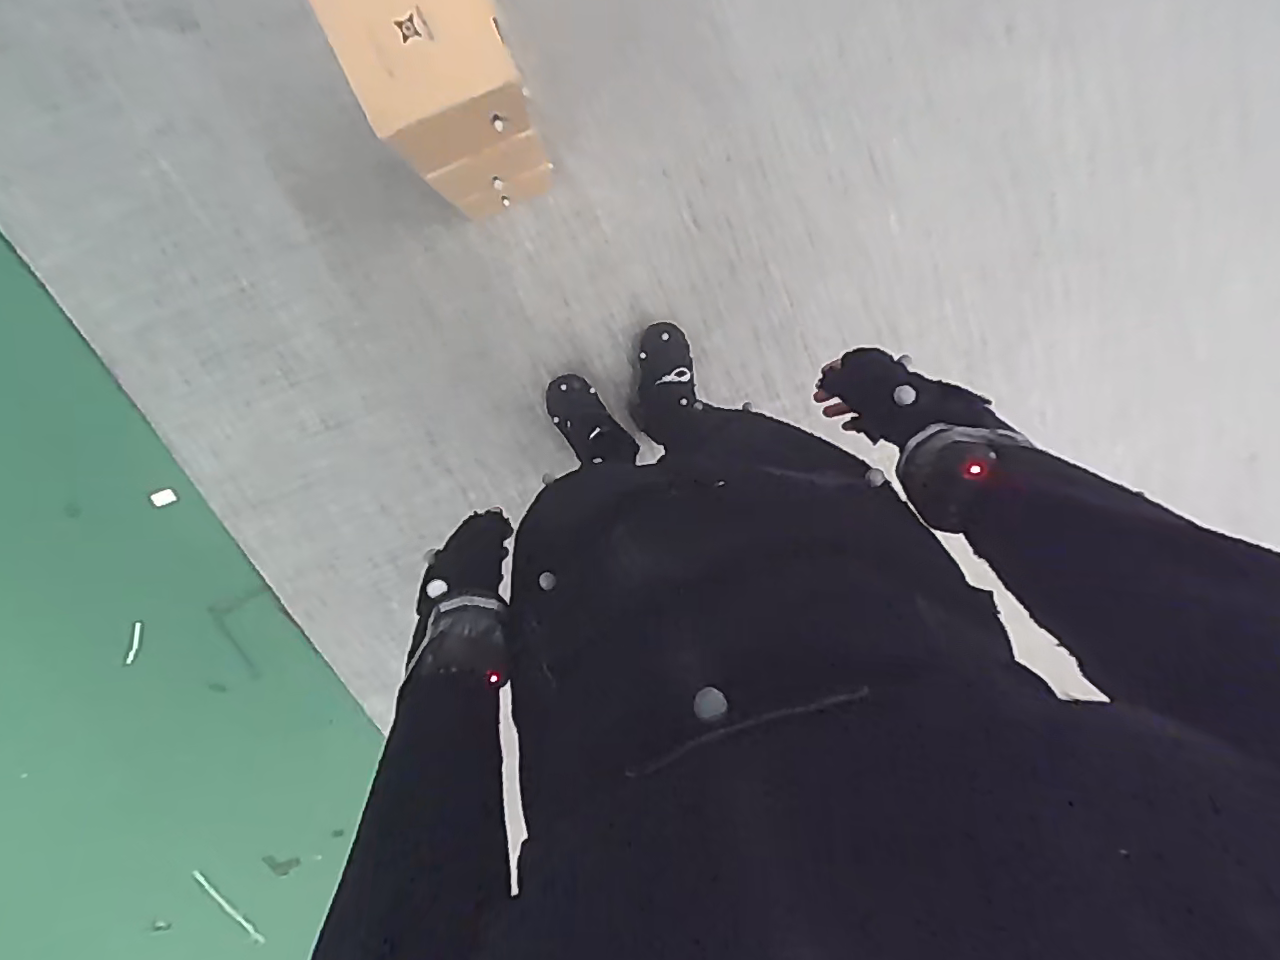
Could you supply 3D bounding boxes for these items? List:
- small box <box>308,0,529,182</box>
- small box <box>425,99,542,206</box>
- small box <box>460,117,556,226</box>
[{"bbox_3d":[-0.248,-0.498,0.662,0.179,0.176,0.168,-23,107,3],"label":"small box"},{"bbox_3d":[-0.258,-0.542,0.818,0.179,0.176,0.168,-22,108,1],"label":"small box"},{"bbox_3d":[-0.265,-0.585,0.976,0.179,0.176,0.168,-25,107,2],"label":"small box"}]
